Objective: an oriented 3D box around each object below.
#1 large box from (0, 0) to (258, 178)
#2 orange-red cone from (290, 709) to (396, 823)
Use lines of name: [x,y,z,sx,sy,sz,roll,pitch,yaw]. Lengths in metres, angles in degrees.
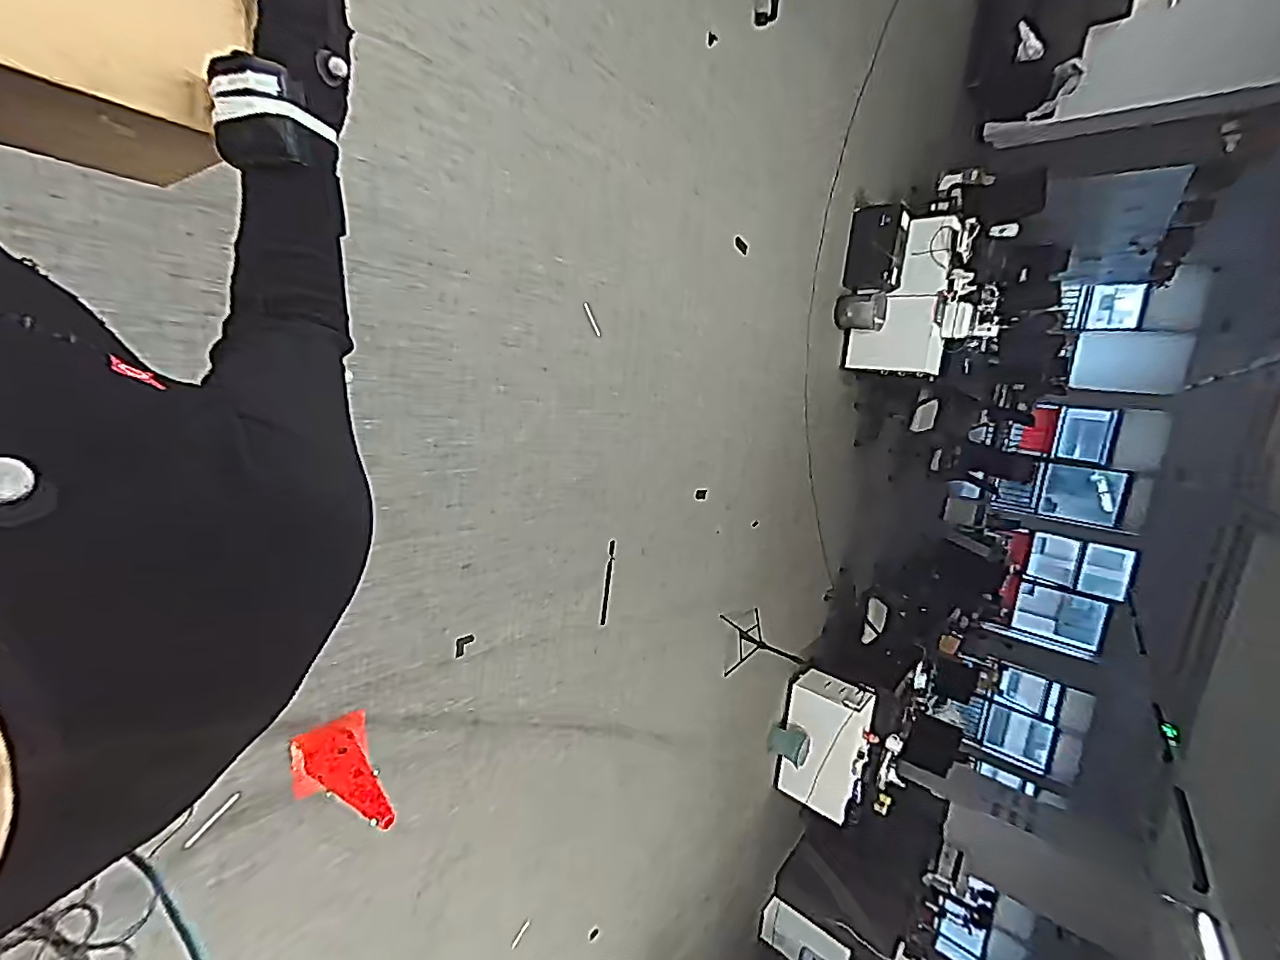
large box: [-0.521,-0.428,0.327,0.408,0.320,0.320,-7,109,-51]
orange-red cone: [-0.773,0.817,1.470,0.198,0.360,0.199,-11,108,-51]
